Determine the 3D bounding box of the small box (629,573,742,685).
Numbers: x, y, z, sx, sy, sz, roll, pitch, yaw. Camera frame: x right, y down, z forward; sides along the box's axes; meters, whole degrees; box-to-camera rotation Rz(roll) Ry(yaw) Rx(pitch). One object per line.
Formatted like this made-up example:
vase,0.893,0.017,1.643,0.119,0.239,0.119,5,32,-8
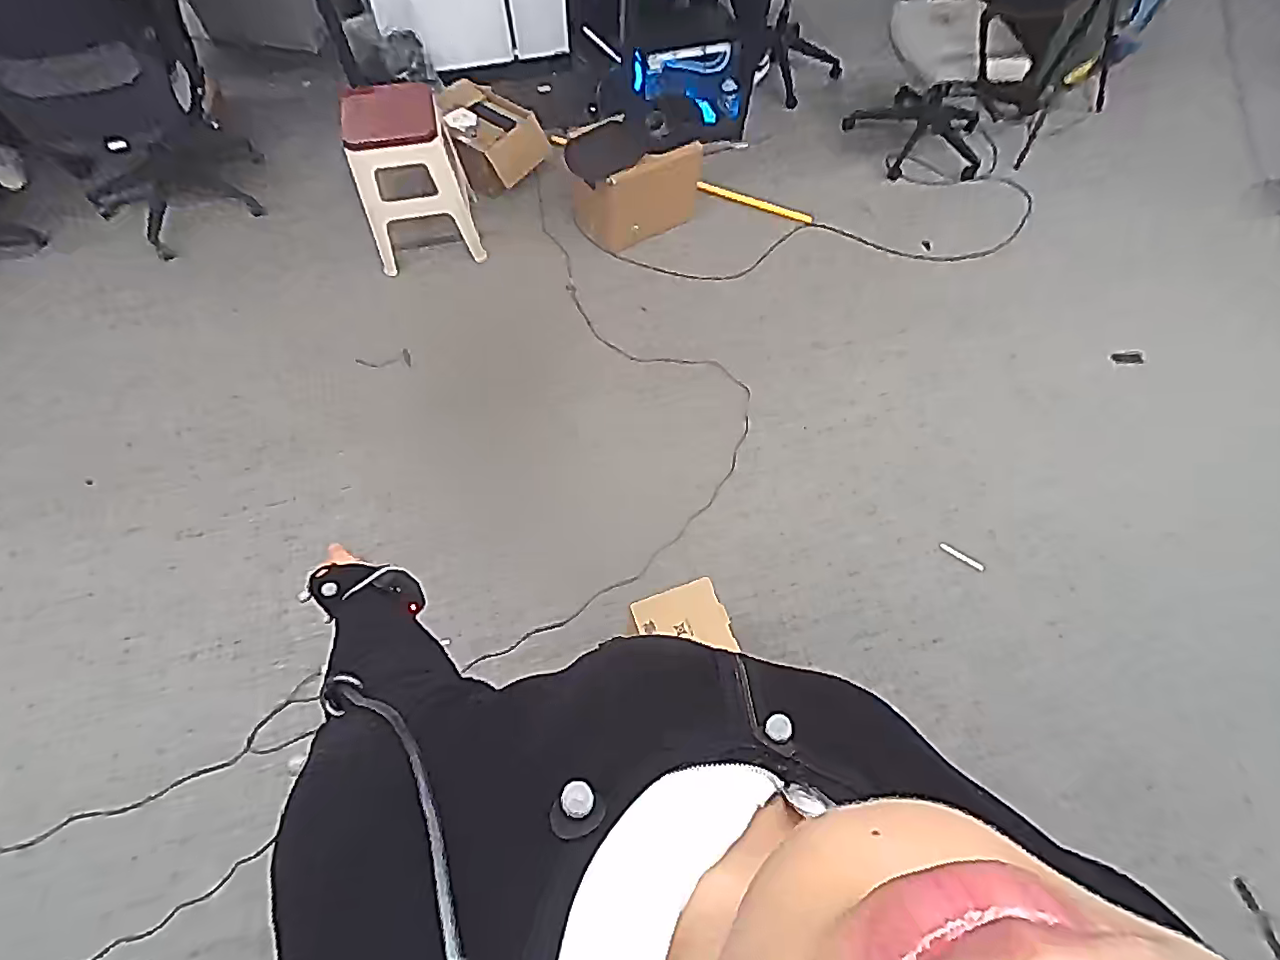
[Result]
small box,0.086,0.317,1.135,0.179,0.176,0.168,-18,67,-12
